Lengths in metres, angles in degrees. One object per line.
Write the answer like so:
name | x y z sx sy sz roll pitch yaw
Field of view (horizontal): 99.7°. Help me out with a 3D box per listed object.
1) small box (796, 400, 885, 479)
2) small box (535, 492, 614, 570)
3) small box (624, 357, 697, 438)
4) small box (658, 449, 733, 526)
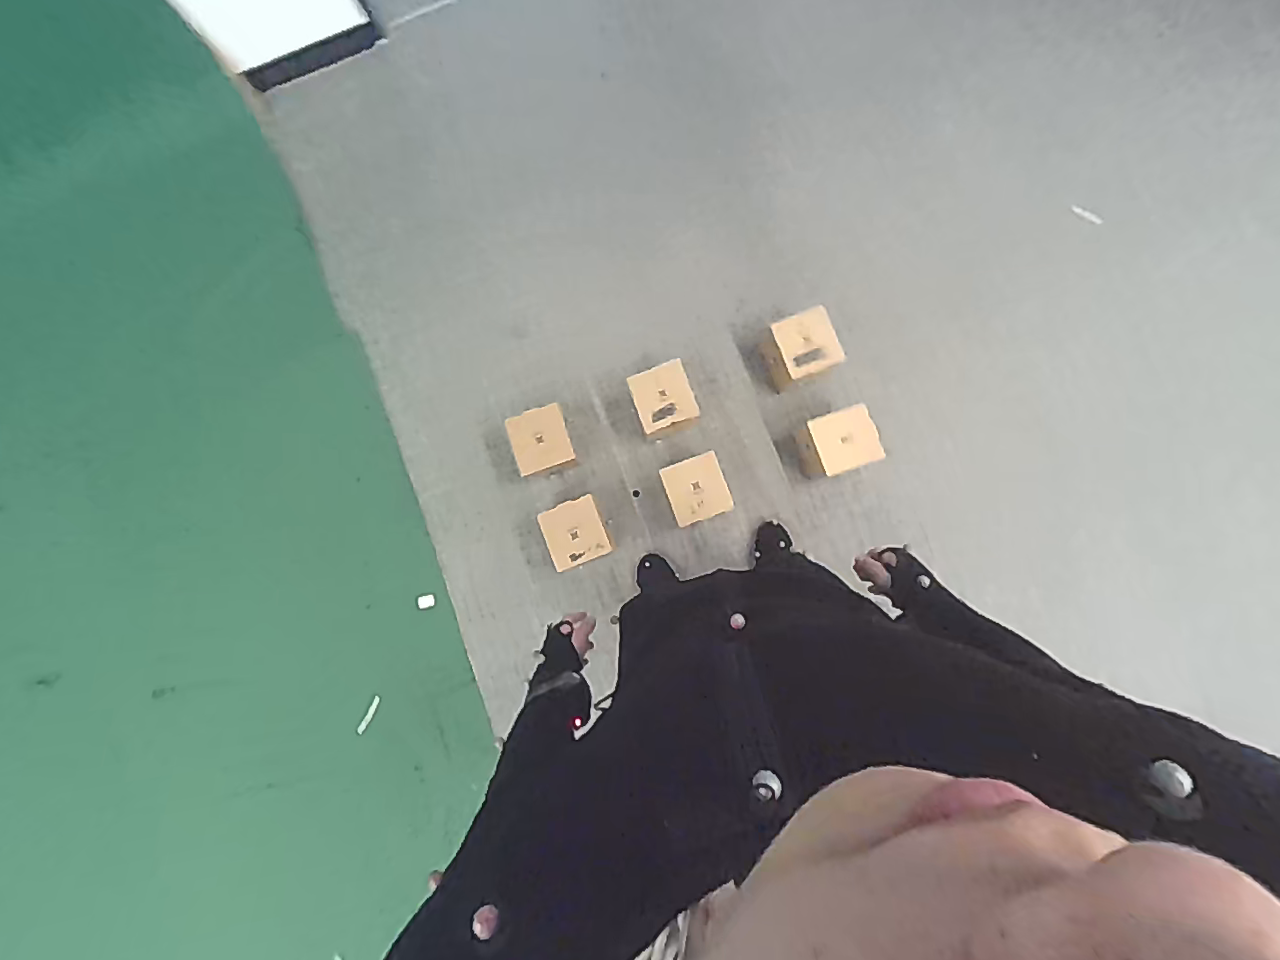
small box | 0.566 -0.109 1.559 0.179 0.176 0.168 -19 84 -1
small box | -0.184 0.149 1.559 0.168 0.176 0.179 -21 83 1
small box | 0.061 -0.233 1.588 0.168 0.176 0.179 -19 83 0
small box | 0.153 0.028 1.559 0.168 0.176 0.179 -19 84 0
